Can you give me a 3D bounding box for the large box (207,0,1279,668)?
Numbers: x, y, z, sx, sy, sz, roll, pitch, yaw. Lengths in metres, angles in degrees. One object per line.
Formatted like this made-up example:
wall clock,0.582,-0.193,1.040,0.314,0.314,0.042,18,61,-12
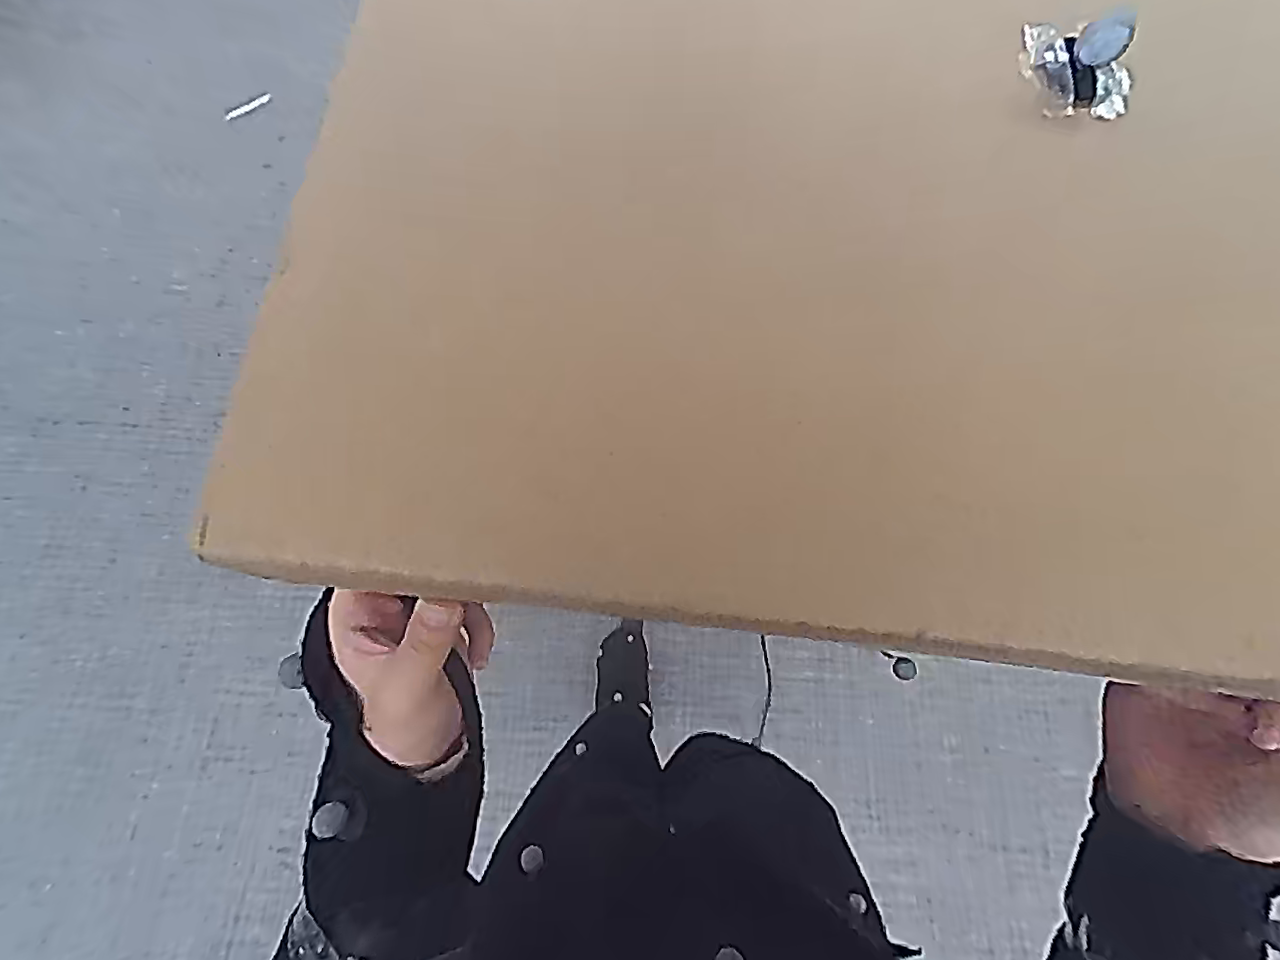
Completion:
large box,0.104,-0.084,0.303,0.408,0.320,0.320,7,76,-3
